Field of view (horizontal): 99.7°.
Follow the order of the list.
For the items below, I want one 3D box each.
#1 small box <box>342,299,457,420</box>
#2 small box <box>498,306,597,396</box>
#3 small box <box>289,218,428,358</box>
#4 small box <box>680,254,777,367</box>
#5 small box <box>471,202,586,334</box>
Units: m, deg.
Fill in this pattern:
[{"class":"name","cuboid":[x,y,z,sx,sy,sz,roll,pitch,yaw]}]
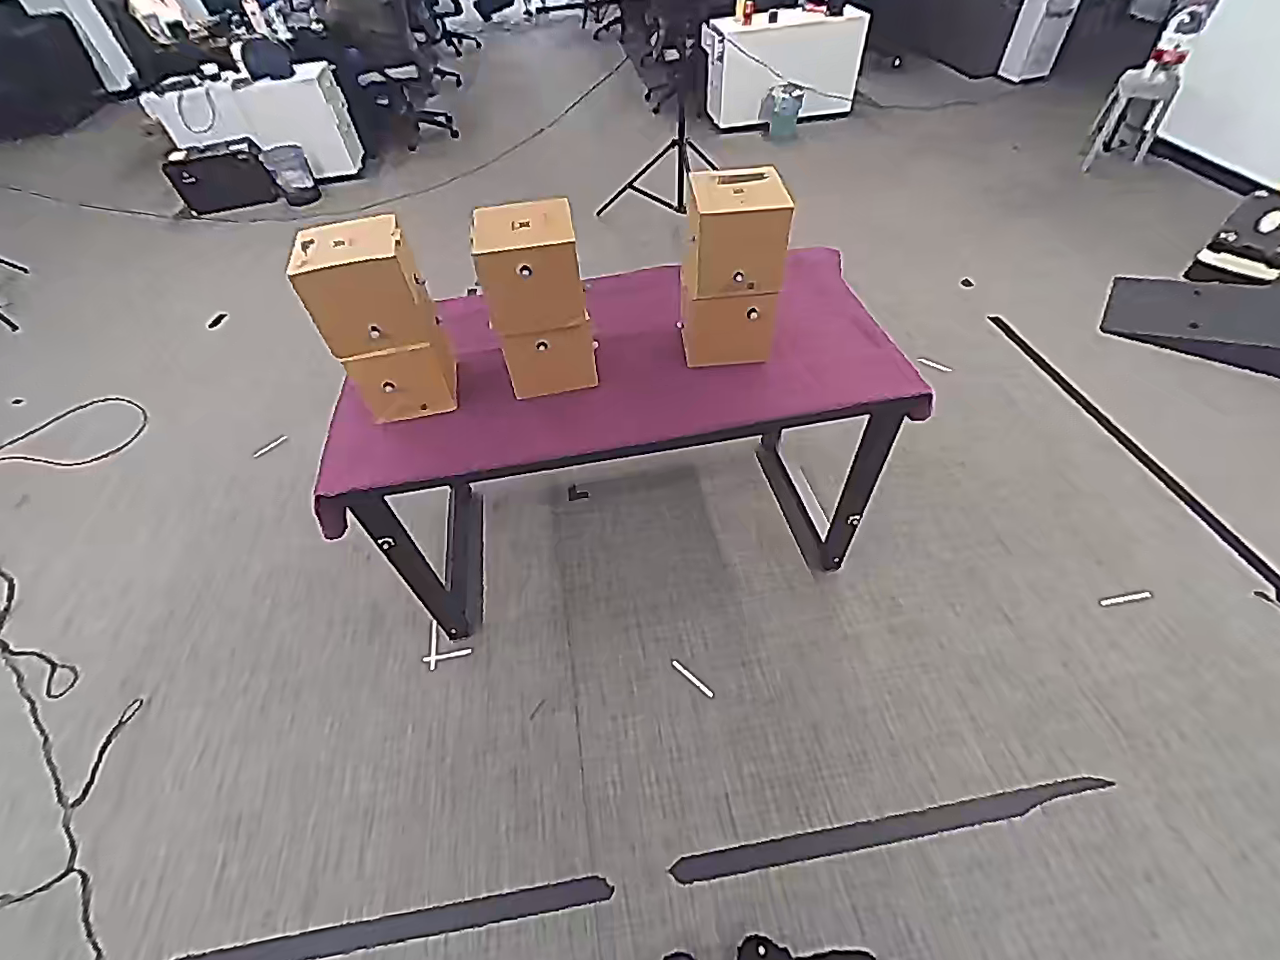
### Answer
[{"class":"small box","cuboid":[-0.484,-0.240,1.112,0.168,0.176,0.179,-13,50,-6]},{"class":"small box","cuboid":[-0.195,-0.295,1.136,0.179,0.176,0.168,-11,50,-6]},{"class":"small box","cuboid":[-0.500,-0.349,0.991,0.179,0.176,0.168,-14,50,-8]},{"class":"small box","cuboid":[0.181,-0.363,1.165,0.179,0.176,0.168,-5,49,1]},{"class":"small box","cuboid":[-0.202,-0.388,1.004,0.179,0.176,0.168,-9,52,-5]}]
